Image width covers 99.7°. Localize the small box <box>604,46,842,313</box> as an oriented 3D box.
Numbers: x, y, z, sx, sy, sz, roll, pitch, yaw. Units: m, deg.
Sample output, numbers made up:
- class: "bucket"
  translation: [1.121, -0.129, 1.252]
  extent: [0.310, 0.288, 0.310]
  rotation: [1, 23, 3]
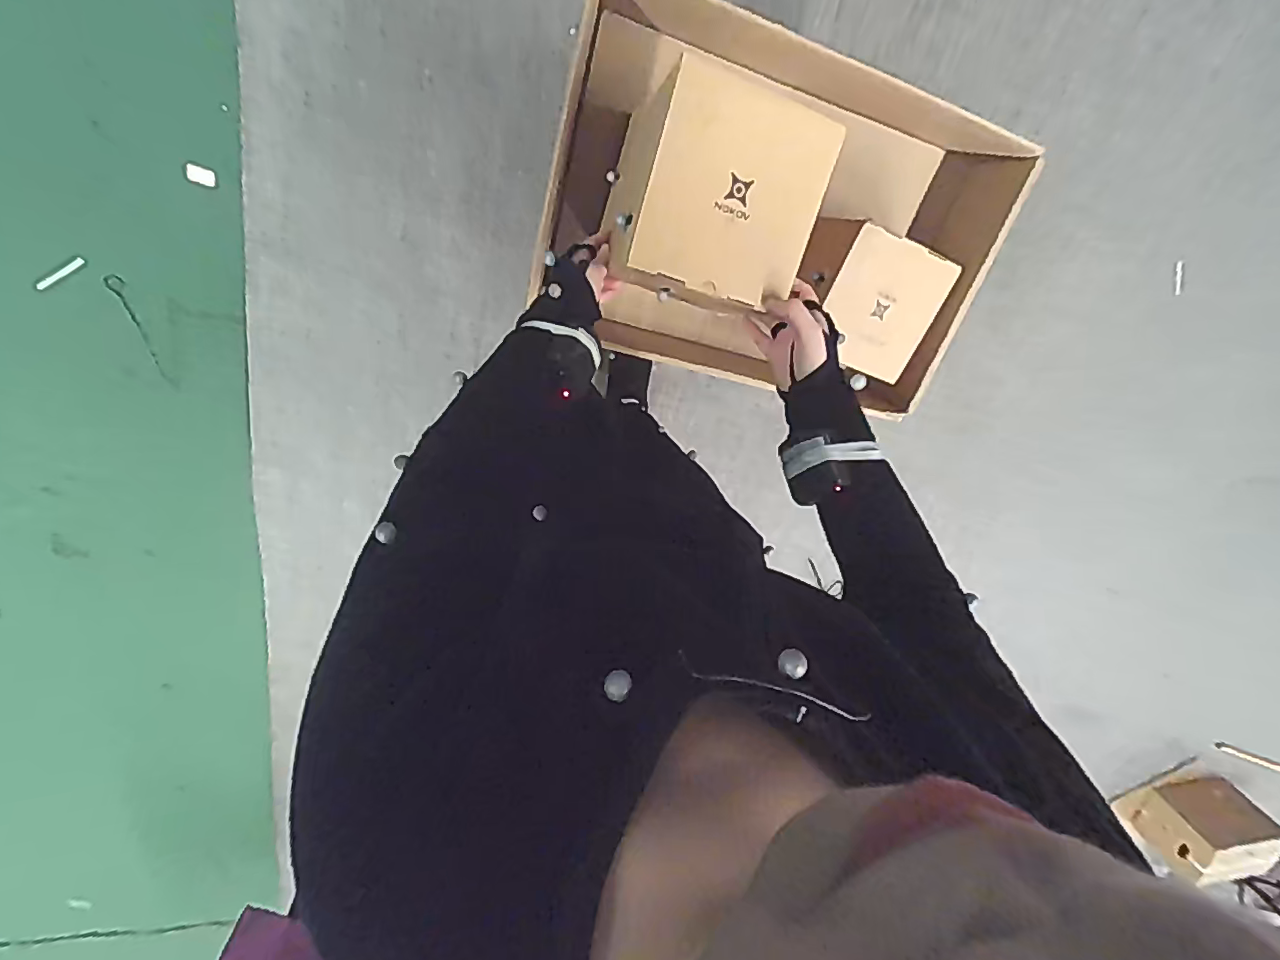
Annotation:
- class: "small box"
  translation: [0.068, -0.288, 0.562]
  extent: [0.168, 0.176, 0.179]
  rotation: [13, 107, -16]
